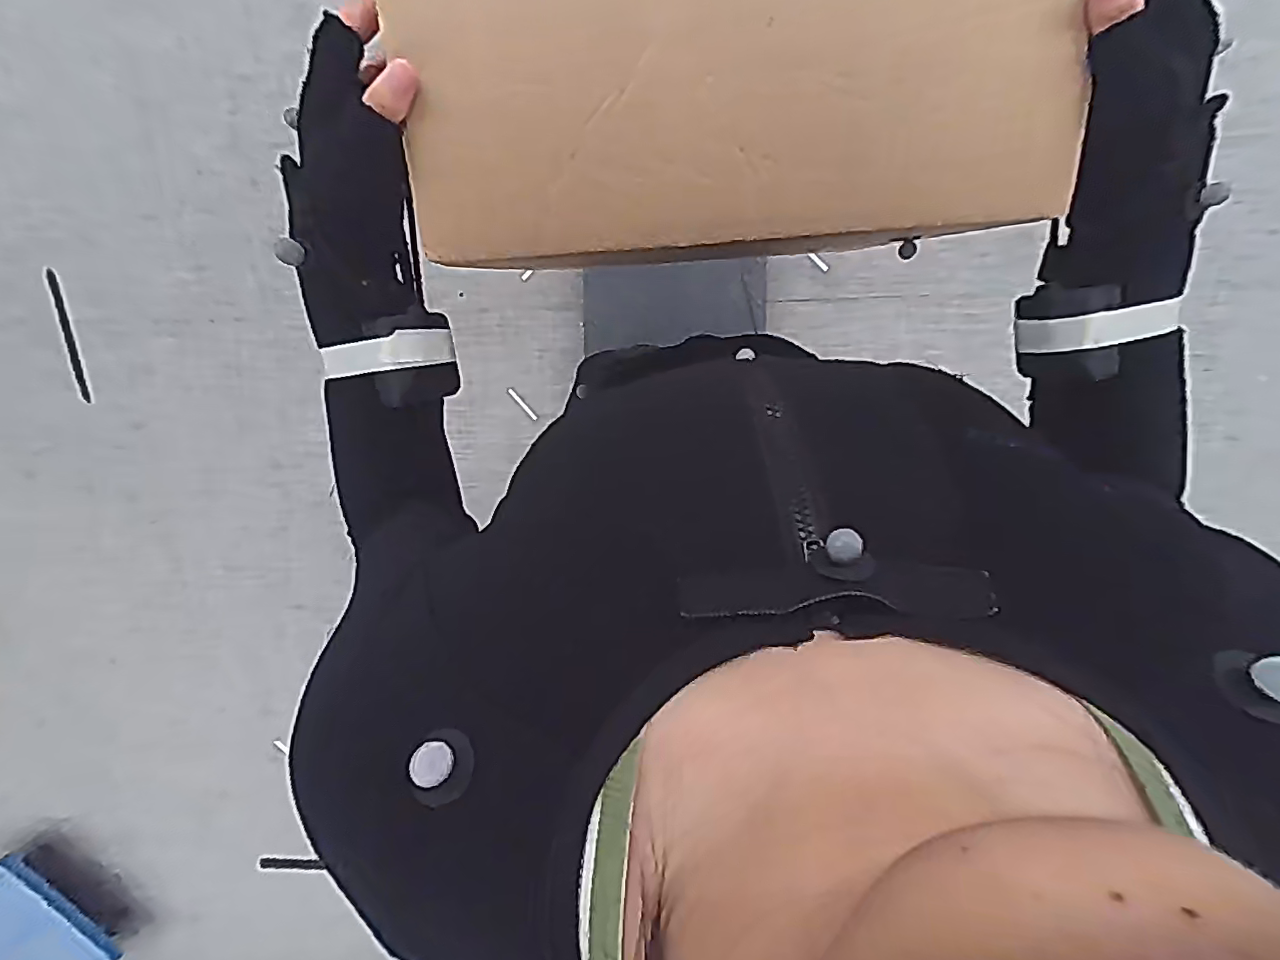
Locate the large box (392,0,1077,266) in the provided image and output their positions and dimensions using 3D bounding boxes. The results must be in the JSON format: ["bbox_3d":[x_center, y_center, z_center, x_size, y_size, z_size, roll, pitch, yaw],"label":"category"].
[{"bbox_3d":[0.054,-0.354,0.440,0.408,0.320,0.320,-4,110,1],"label":"large box"}]
